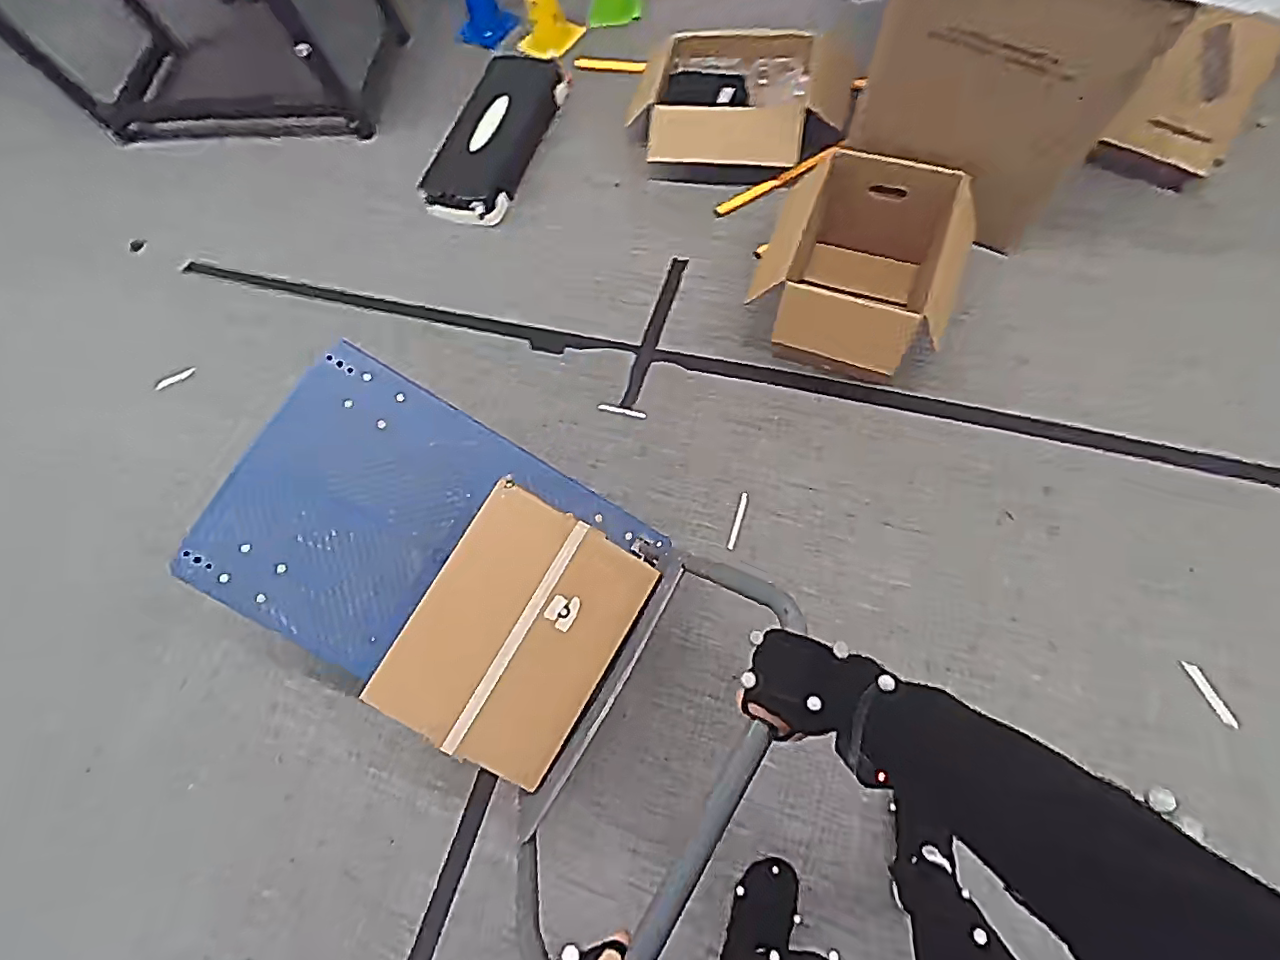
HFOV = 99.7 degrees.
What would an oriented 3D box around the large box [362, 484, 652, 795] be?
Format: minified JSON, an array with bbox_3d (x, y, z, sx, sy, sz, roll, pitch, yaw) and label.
[{"bbox_3d":[-0.225,0.267,1.010,0.320,0.320,0.408,31,80,-6],"label":"large box"}]
